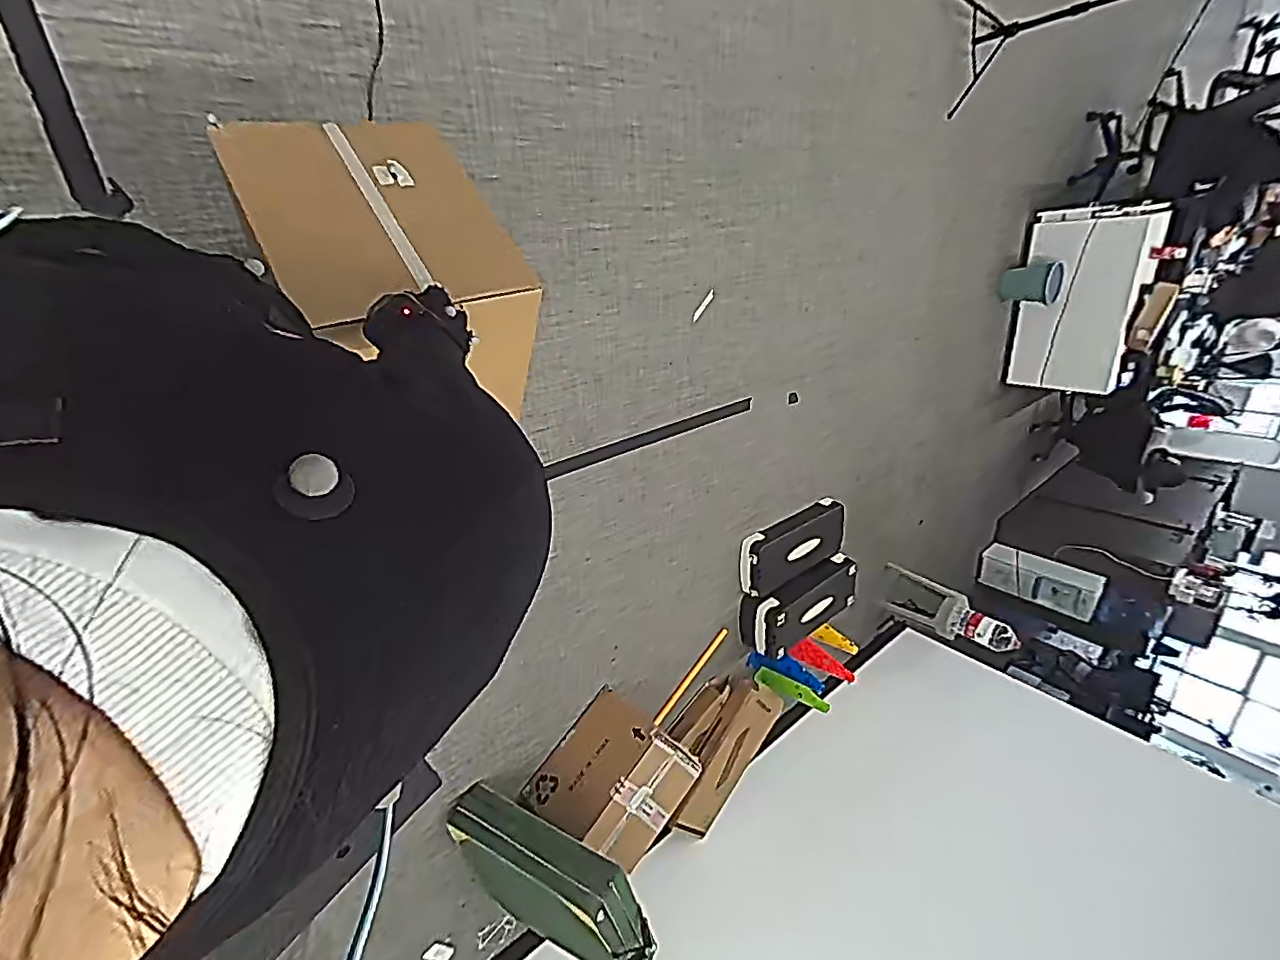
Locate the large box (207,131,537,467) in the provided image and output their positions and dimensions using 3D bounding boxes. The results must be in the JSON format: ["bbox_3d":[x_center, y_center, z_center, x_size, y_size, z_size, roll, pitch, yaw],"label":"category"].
[{"bbox_3d":[-0.416,-0.297,0.887,0.320,0.408,0.320,-24,158,-32],"label":"large box"}]
